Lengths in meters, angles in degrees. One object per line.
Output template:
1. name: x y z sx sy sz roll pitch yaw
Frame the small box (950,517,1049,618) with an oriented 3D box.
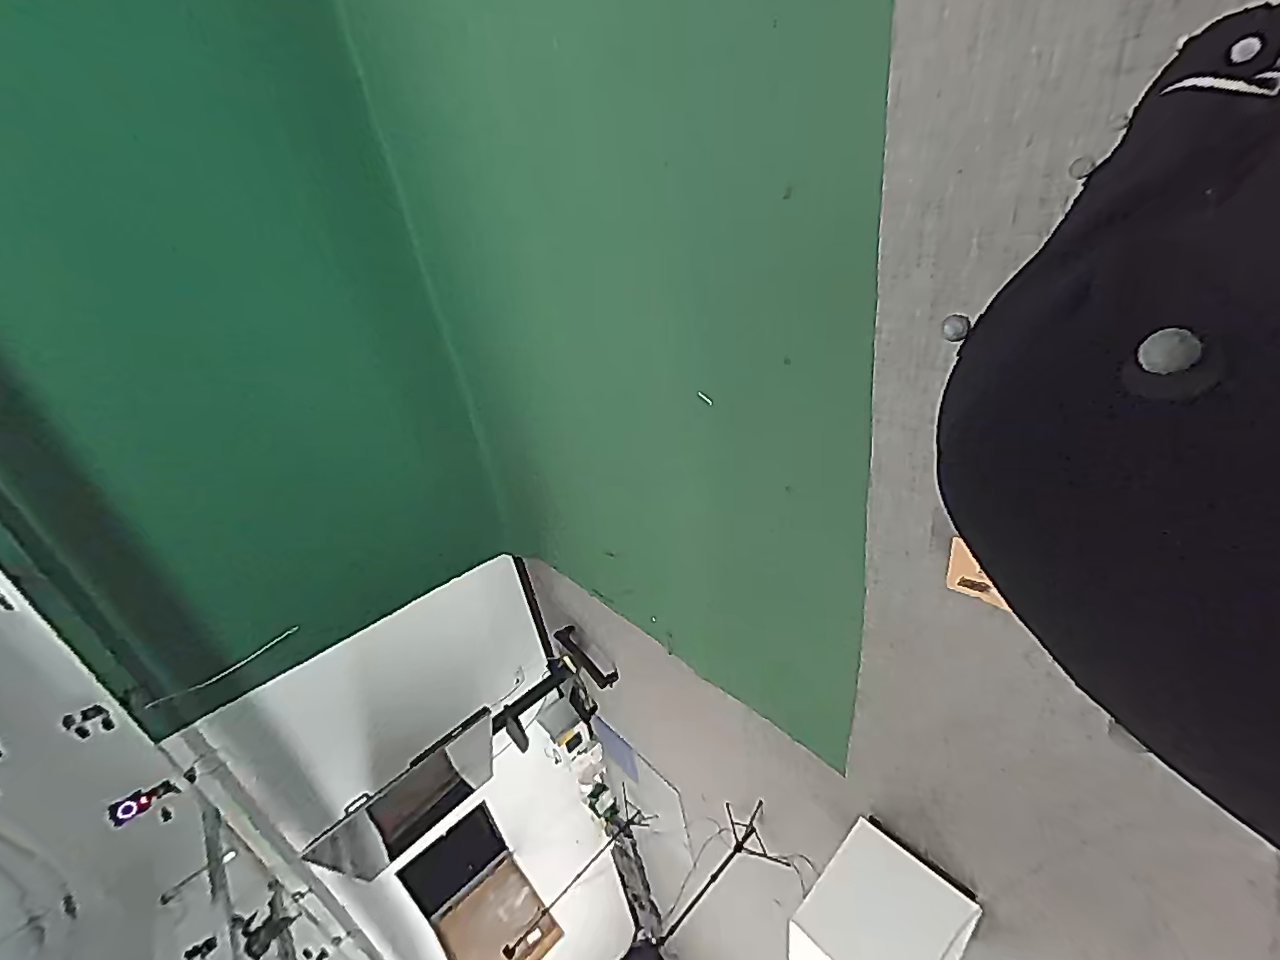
1. small box: 0.964 0.228 1.450 0.168 0.176 0.179 22 129 46
